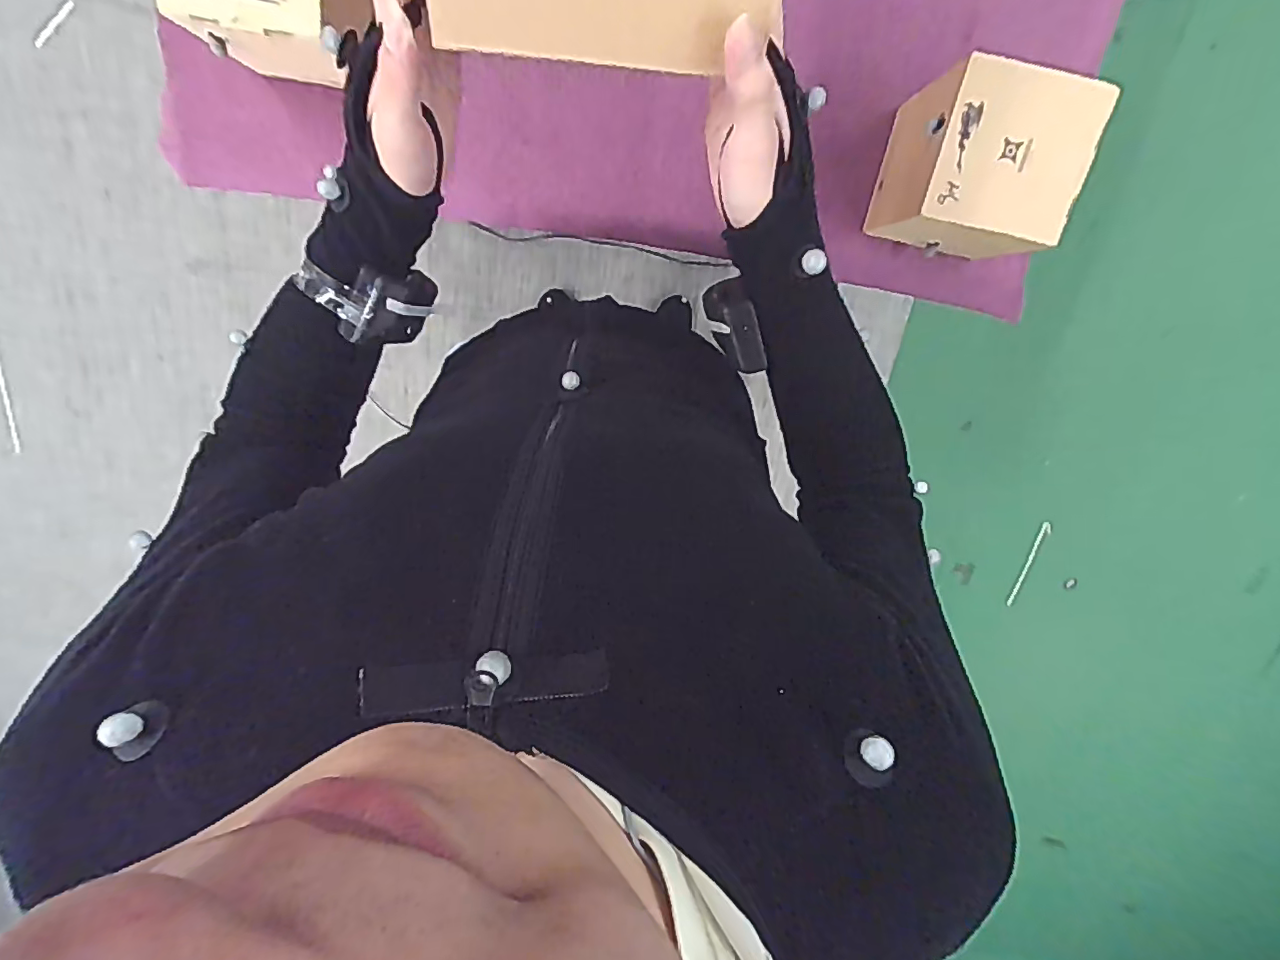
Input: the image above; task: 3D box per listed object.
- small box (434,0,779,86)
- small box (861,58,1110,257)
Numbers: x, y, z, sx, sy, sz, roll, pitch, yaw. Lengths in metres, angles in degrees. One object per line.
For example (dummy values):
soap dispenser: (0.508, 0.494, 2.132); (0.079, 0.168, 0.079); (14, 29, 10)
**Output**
small box: (-0.015, -0.327, 0.262); (0.168, 0.176, 0.179); (0, 140, -9)
small box: (0.418, -0.390, 0.690); (0.179, 0.176, 0.168); (11, 107, -5)
